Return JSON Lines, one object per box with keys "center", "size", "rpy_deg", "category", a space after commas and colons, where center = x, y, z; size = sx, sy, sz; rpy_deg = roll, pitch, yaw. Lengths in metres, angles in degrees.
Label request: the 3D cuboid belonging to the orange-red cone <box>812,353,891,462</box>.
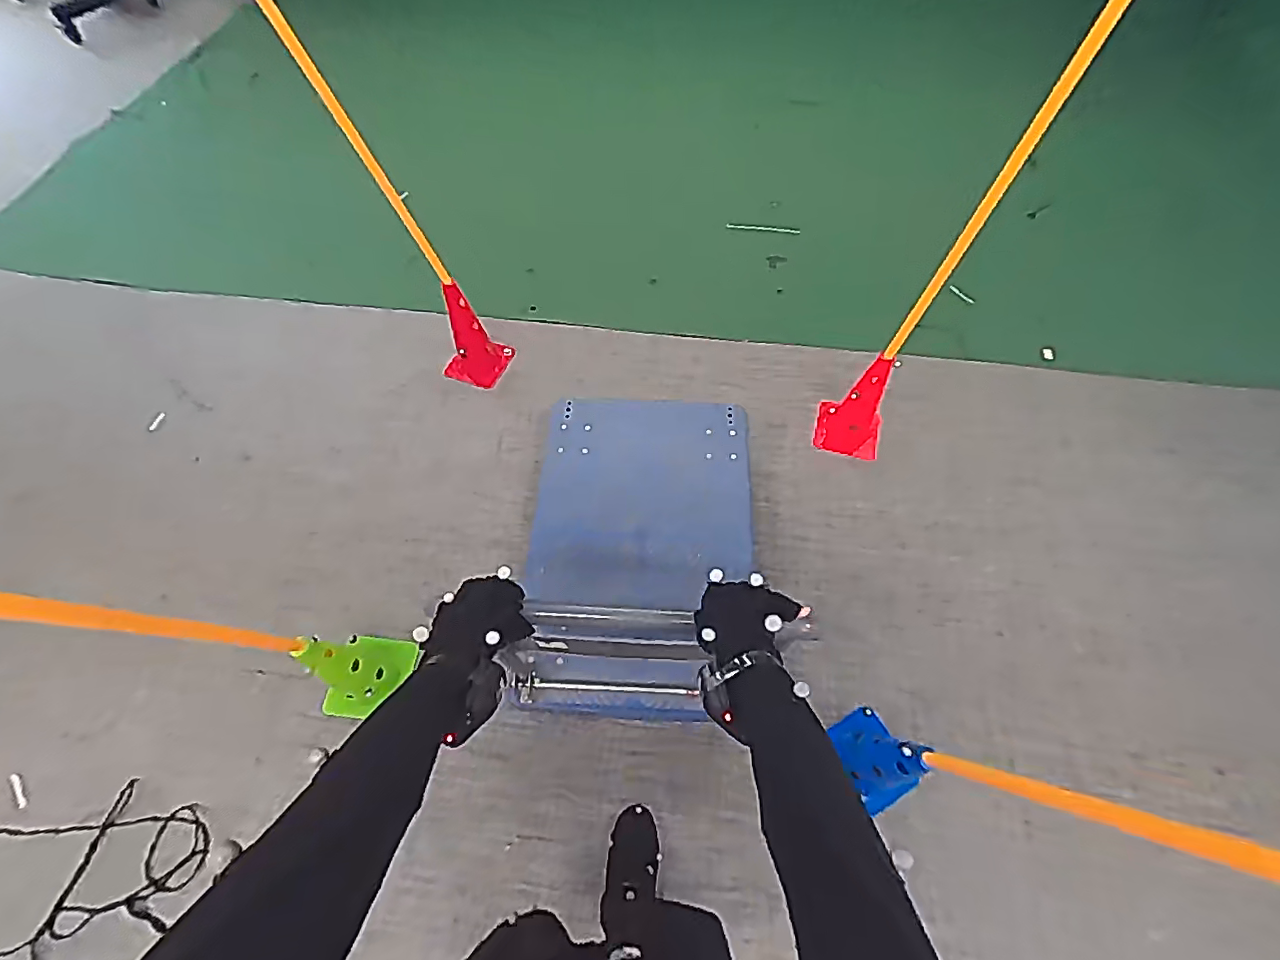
{"center": [0.669, -0.242, 1.617], "size": [0.198, 0.360, 0.199], "rpy_deg": [16, 63, 11], "category": "orange-red cone"}
